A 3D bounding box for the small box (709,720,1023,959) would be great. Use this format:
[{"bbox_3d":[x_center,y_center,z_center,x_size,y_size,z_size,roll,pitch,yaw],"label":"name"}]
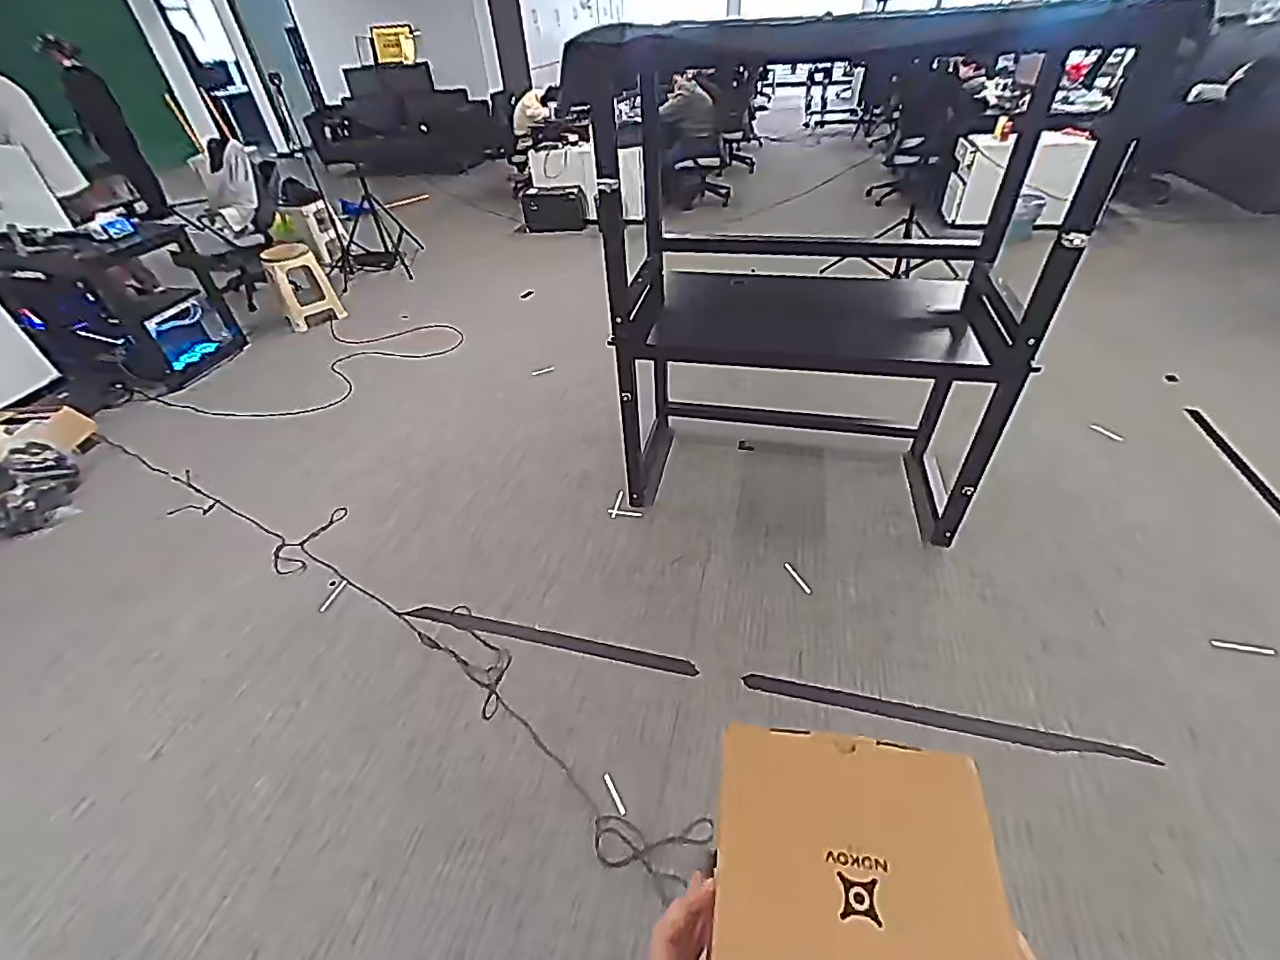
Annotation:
[{"bbox_3d":[0.135,0.296,0.371,0.168,0.176,0.179,4,44,9],"label":"small box"}]
